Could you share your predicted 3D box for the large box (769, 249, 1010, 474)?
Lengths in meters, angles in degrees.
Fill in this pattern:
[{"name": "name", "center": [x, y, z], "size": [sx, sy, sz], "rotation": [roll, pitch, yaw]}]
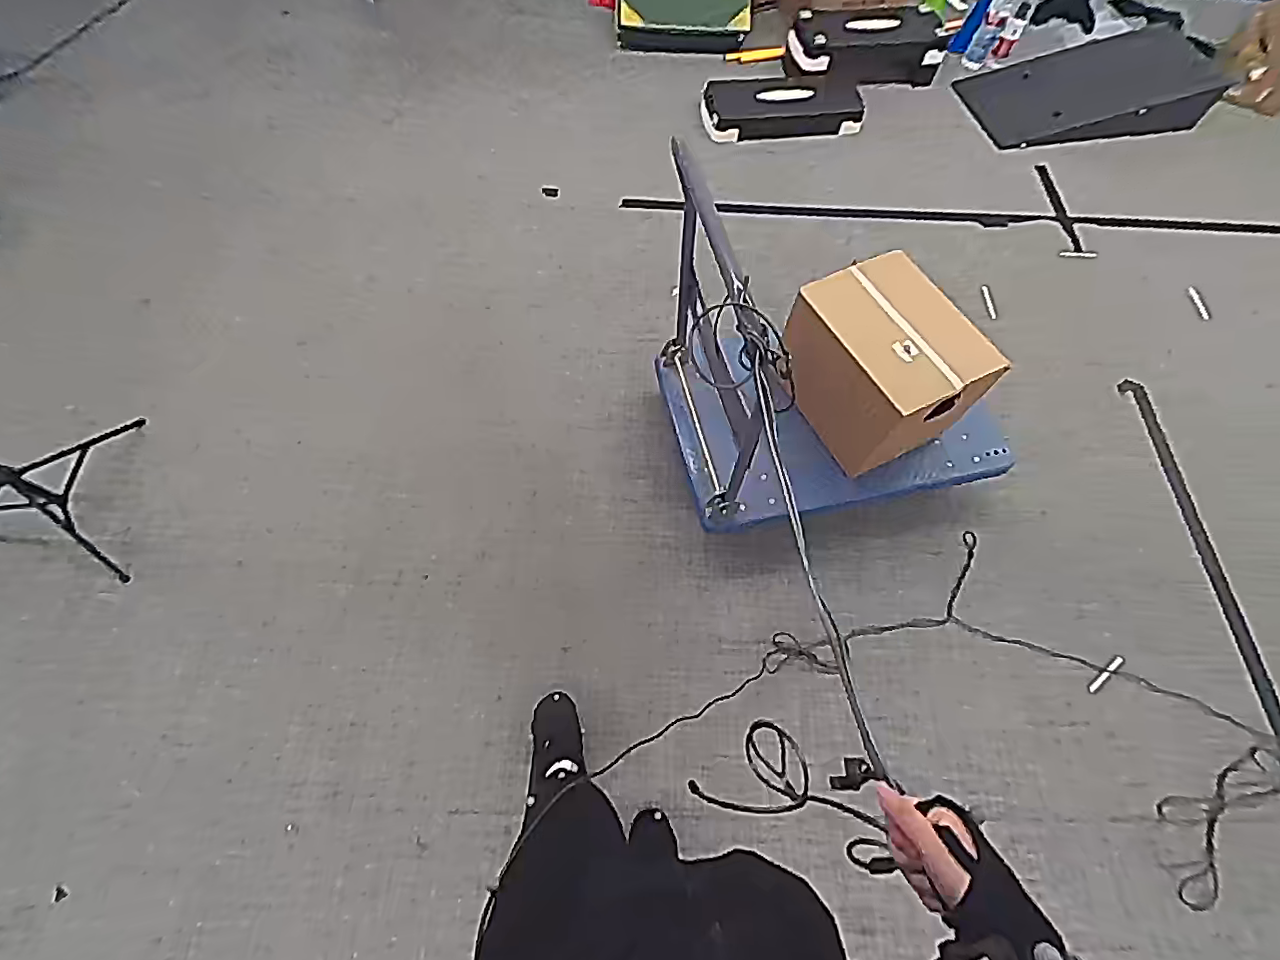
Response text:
[{"name": "large box", "center": [0.593, -0.293, 1.372], "size": [0.320, 0.320, 0.408], "rotation": [-25, 69, -12]}]
